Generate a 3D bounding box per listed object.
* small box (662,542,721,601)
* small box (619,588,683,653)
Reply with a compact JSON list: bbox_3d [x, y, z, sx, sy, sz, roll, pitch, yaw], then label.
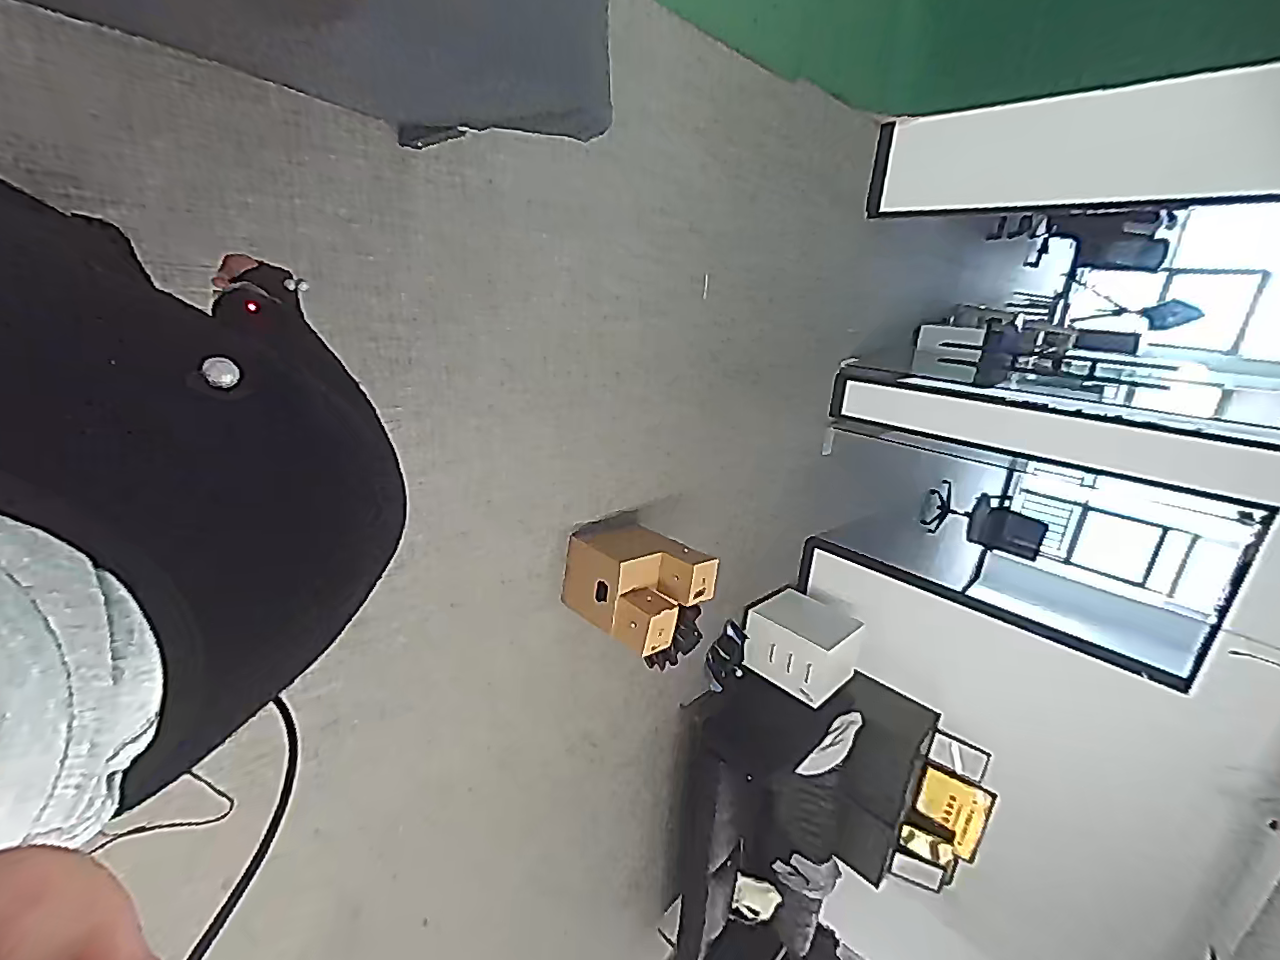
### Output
[{"bbox_3d":[0.205,0.371,2.211,0.168,0.176,0.179,-6,106,-47],"label":"small box"},{"bbox_3d":[0.039,0.533,2.089,0.168,0.176,0.179,-7,111,-48],"label":"small box"}]
